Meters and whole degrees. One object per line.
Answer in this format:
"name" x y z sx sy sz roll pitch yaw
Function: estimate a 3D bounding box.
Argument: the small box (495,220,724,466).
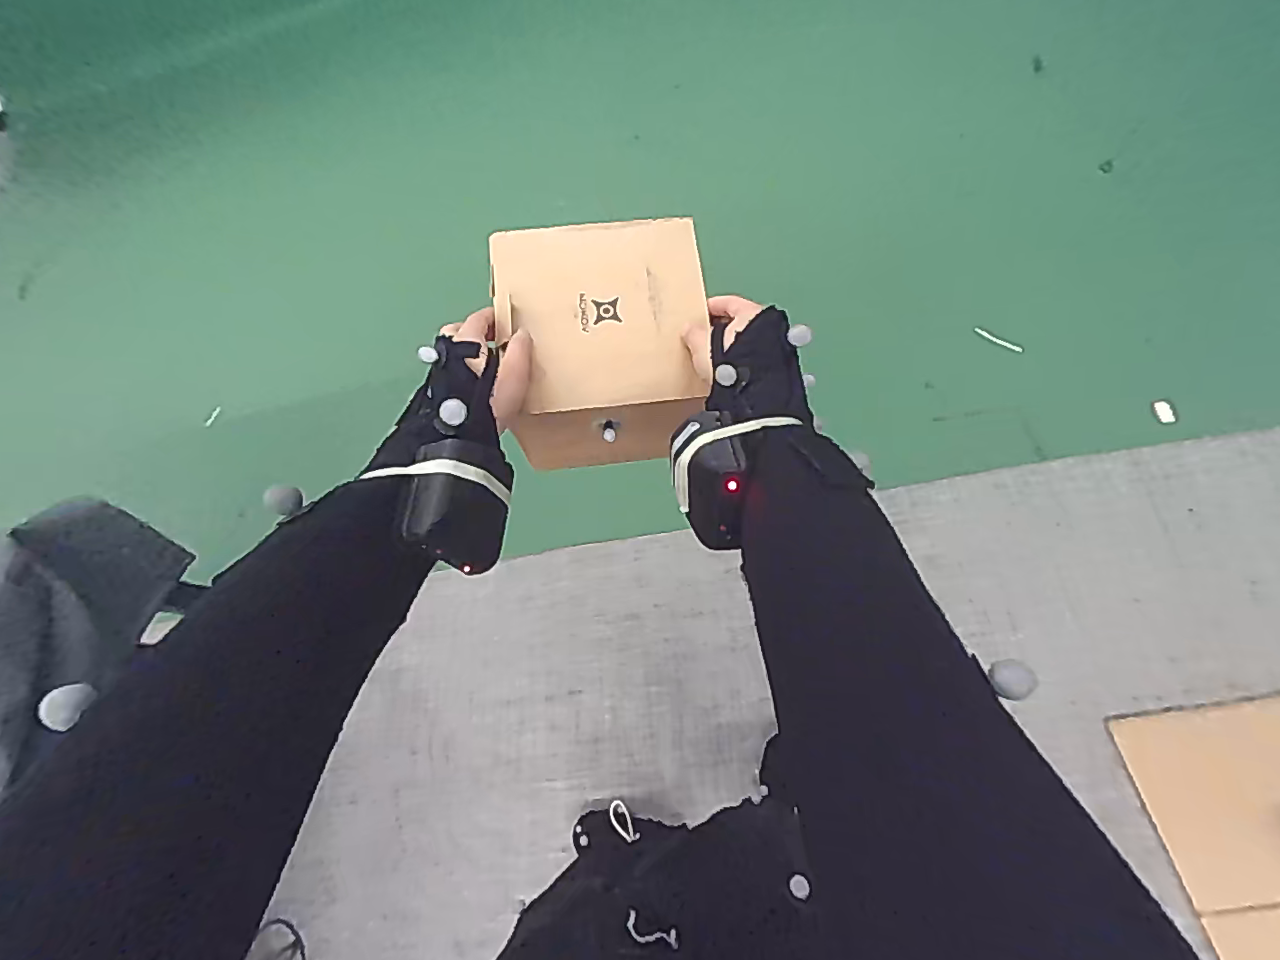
"small box" -0.030 -0.116 0.517 0.179 0.176 0.168 -6 77 -5
